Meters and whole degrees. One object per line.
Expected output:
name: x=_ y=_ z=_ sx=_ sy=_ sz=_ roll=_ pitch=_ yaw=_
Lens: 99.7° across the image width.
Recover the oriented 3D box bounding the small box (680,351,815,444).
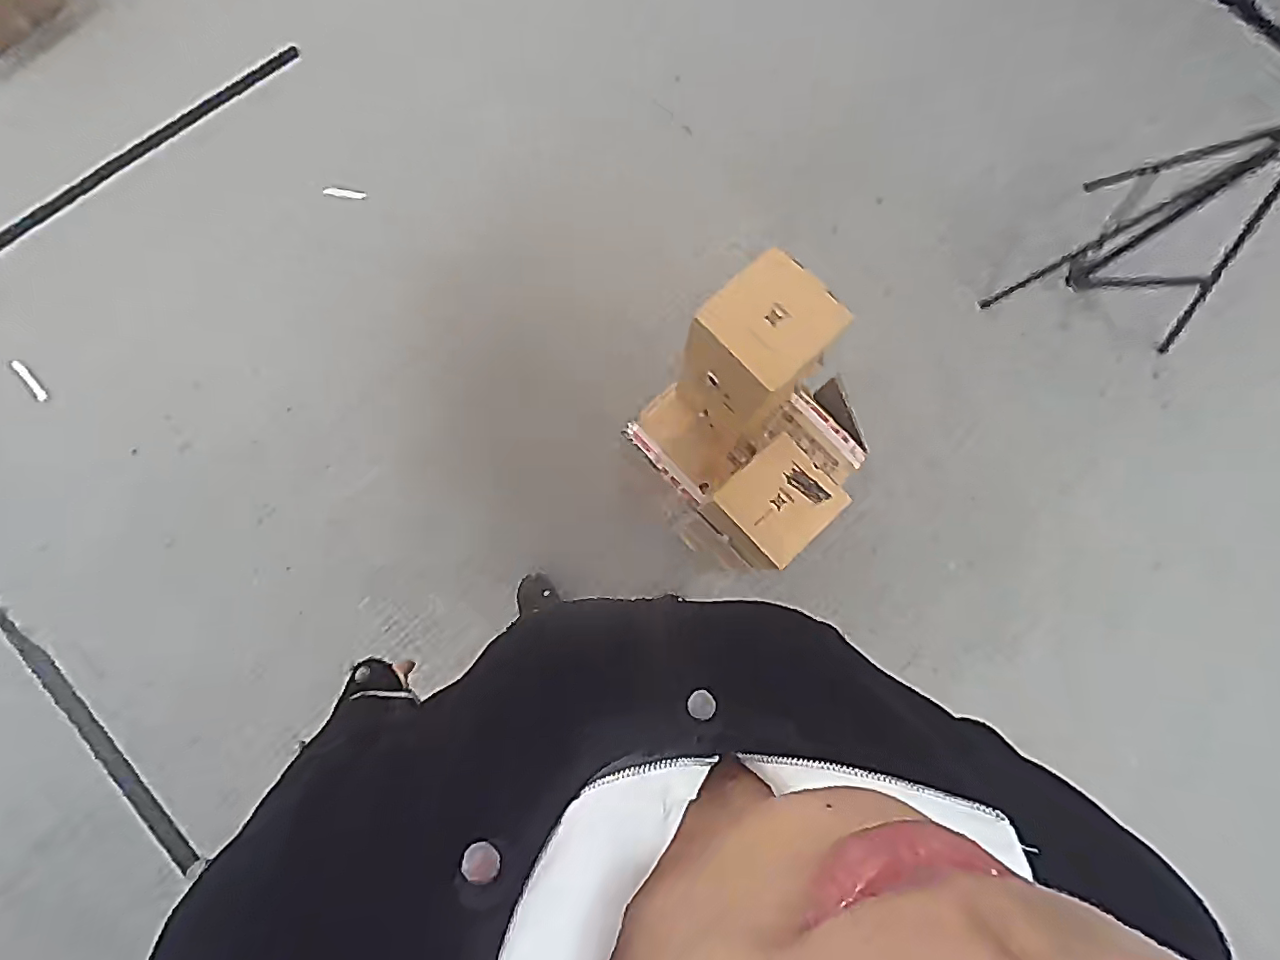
small box: x=0.191 y=-0.195 z=1.025 sx=0.179 sy=0.176 sz=0.168 roll=-42 pitch=82 yaw=-8

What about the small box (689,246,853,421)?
small box: x=0.194 y=-0.224 z=0.865 sx=0.179 sy=0.176 sz=0.168 roll=-42 pitch=82 yaw=-7

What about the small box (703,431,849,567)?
small box: x=0.234 y=0.040 z=0.985 sx=0.179 sy=0.176 sz=0.168 roll=-42 pitch=85 yaw=-7
